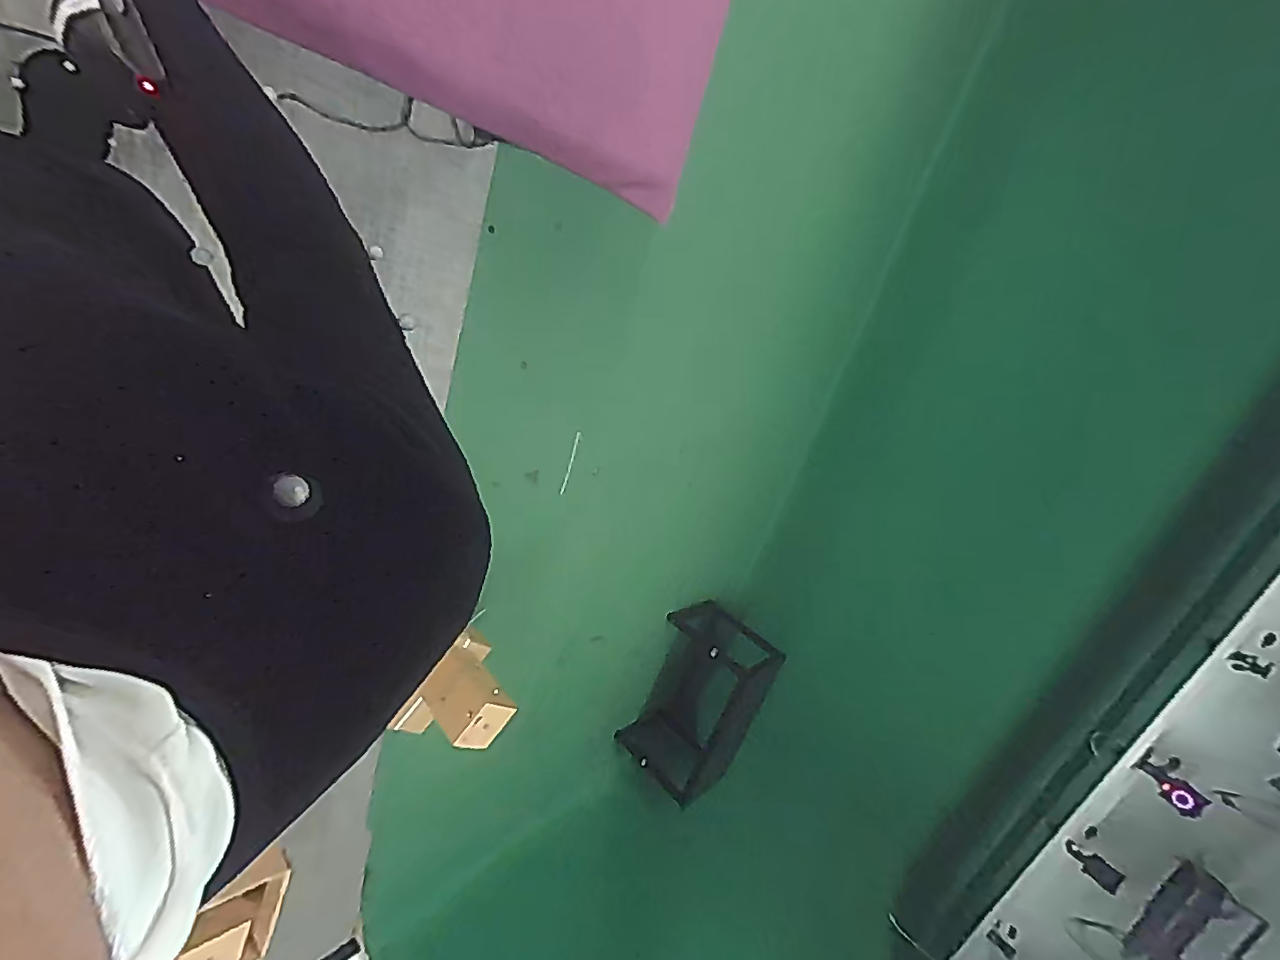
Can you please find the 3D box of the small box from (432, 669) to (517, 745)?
[{"bbox_3d":[-0.560,0.766,1.827,0.168,0.176,0.179,-51,146,-8],"label":"small box"}]

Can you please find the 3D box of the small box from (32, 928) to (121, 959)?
[{"bbox_3d":[-1.375,1.250,1.301,0.168,0.176,0.179,5,112,-53],"label":"small box"}]

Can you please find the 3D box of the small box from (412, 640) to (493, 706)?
[{"bbox_3d":[-0.670,0.697,1.927,0.168,0.176,0.179,-51,145,-9],"label":"small box"}]
